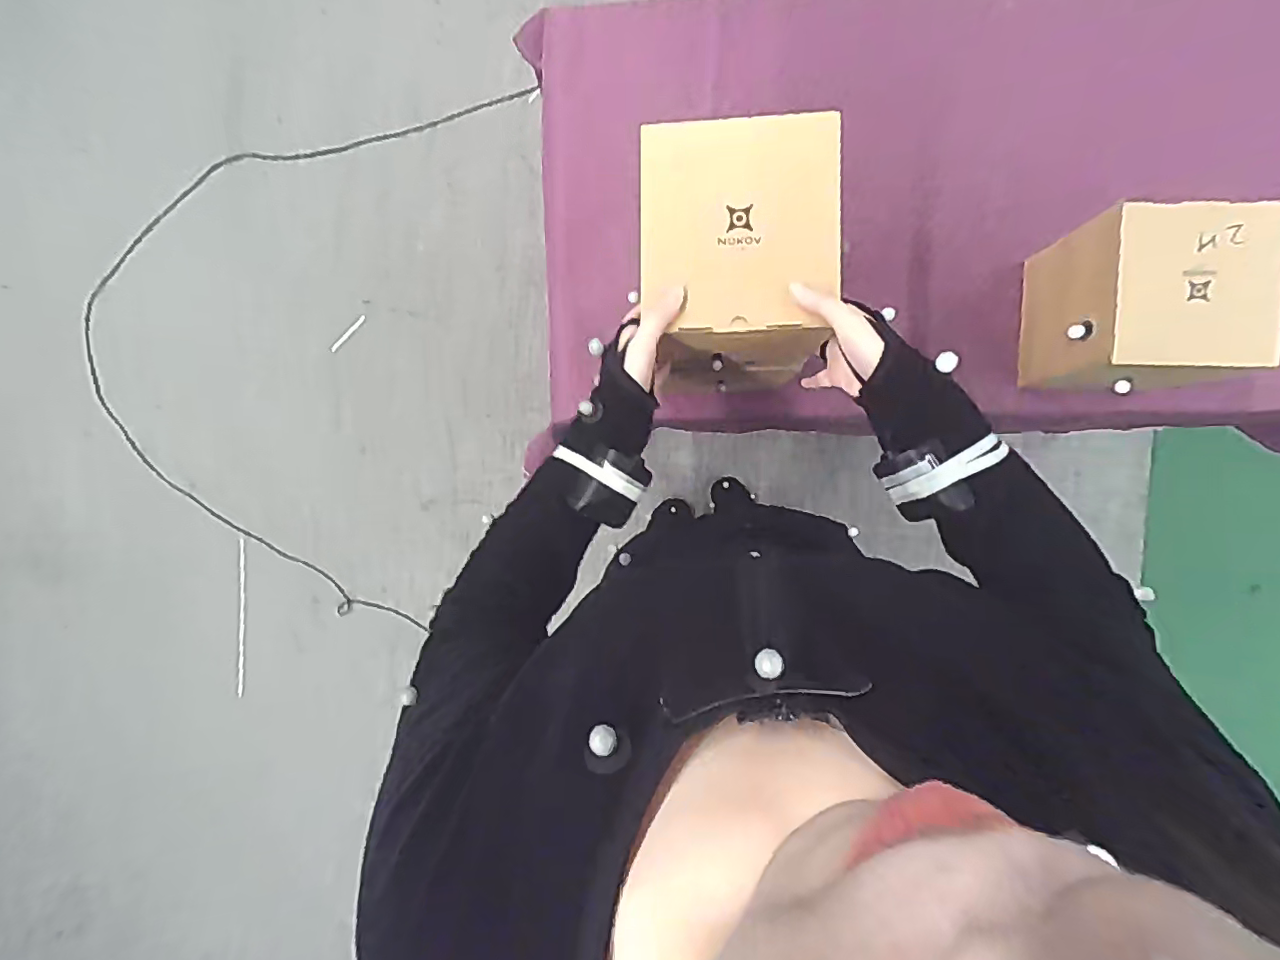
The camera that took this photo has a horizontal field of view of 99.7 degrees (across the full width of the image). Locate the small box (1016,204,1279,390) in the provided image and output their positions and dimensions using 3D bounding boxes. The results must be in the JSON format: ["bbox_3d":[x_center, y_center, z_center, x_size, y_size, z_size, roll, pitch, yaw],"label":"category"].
[{"bbox_3d":[0.592,-0.208,0.657,0.168,0.176,0.179,3,91,4],"label":"small box"}]

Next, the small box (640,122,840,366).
[{"bbox_3d":[0.086,-0.215,0.534,0.168,0.176,0.179,1,94,3],"label":"small box"}]
